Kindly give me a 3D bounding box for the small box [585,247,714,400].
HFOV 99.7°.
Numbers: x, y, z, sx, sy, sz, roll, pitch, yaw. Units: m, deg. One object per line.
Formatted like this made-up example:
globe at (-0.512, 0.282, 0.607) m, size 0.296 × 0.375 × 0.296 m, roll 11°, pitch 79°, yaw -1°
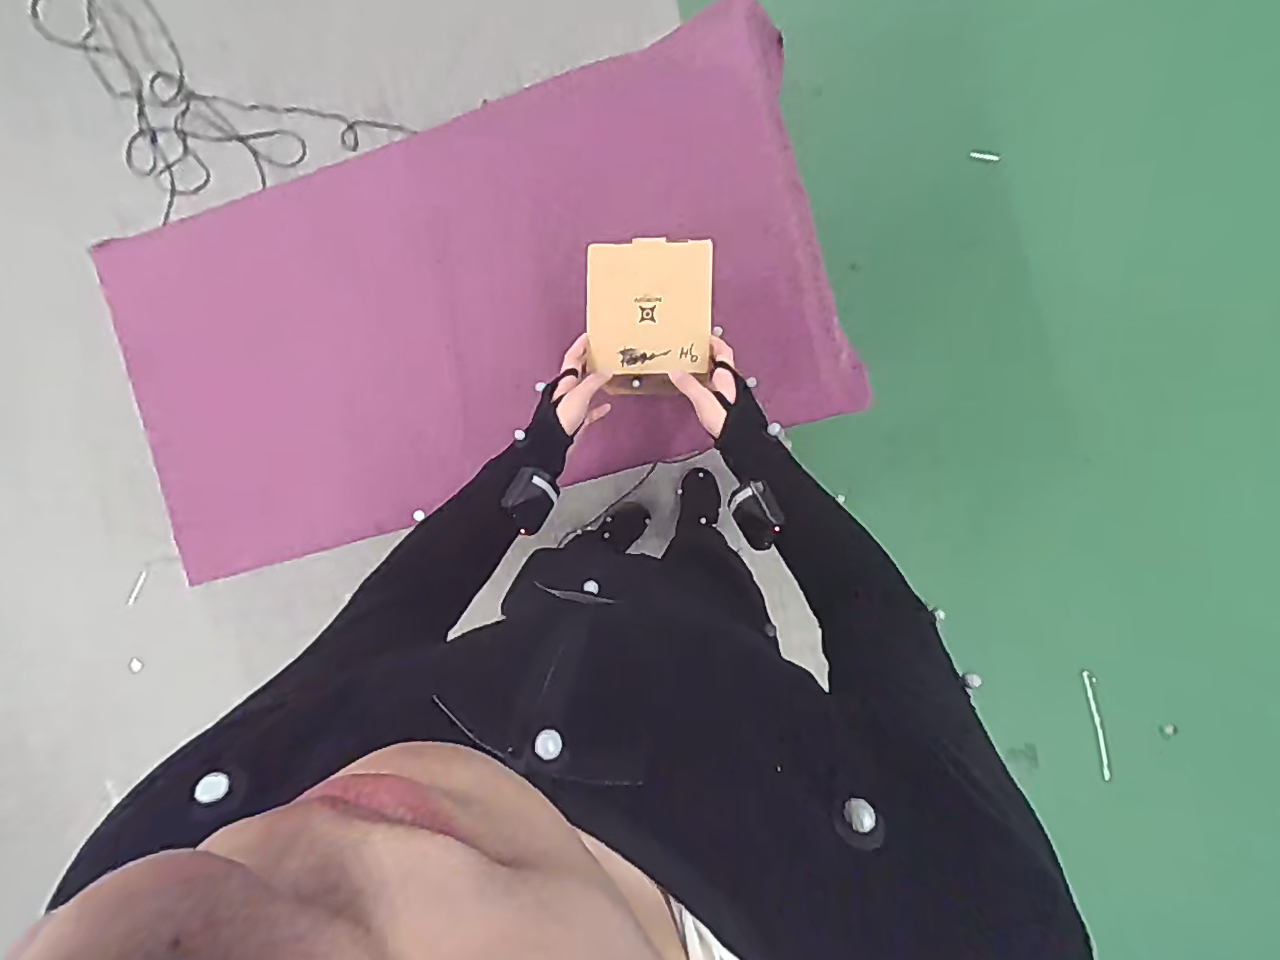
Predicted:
small box at (0.020, -0.216, 0.782) m, size 0.168 × 0.176 × 0.179 m, roll 1°, pitch 91°, yaw 7°
